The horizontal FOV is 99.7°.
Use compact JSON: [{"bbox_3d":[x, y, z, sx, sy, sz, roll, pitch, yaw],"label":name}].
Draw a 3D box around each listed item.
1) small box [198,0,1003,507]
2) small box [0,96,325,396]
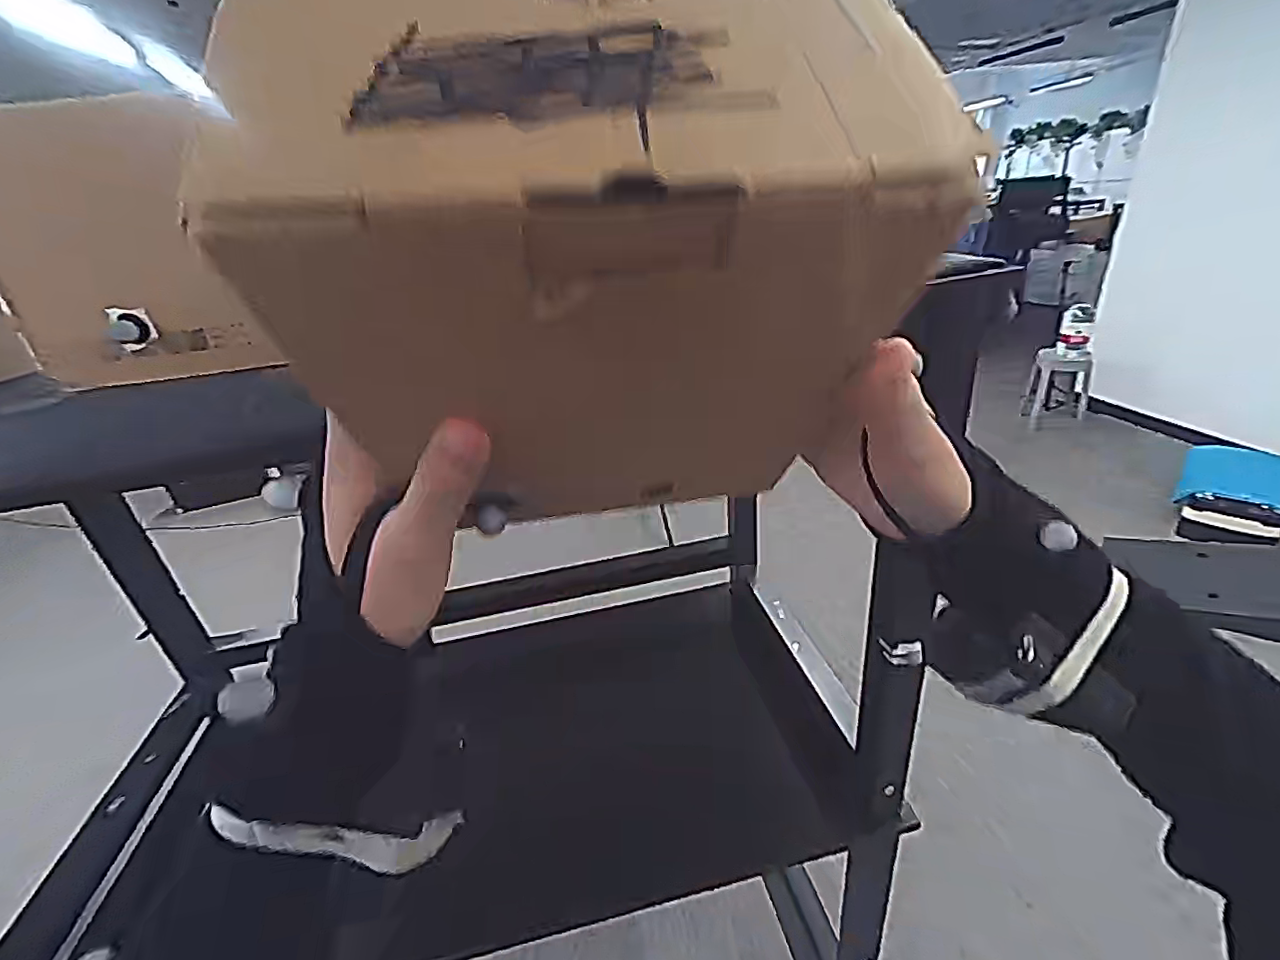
[{"bbox_3d":[-0.019,-0.099,0.214,0.168,0.176,0.179,-7,64,-8],"label":"small box"},{"bbox_3d":[-0.336,-0.174,0.422,0.168,0.176,0.179,-10,26,-4],"label":"small box"}]
